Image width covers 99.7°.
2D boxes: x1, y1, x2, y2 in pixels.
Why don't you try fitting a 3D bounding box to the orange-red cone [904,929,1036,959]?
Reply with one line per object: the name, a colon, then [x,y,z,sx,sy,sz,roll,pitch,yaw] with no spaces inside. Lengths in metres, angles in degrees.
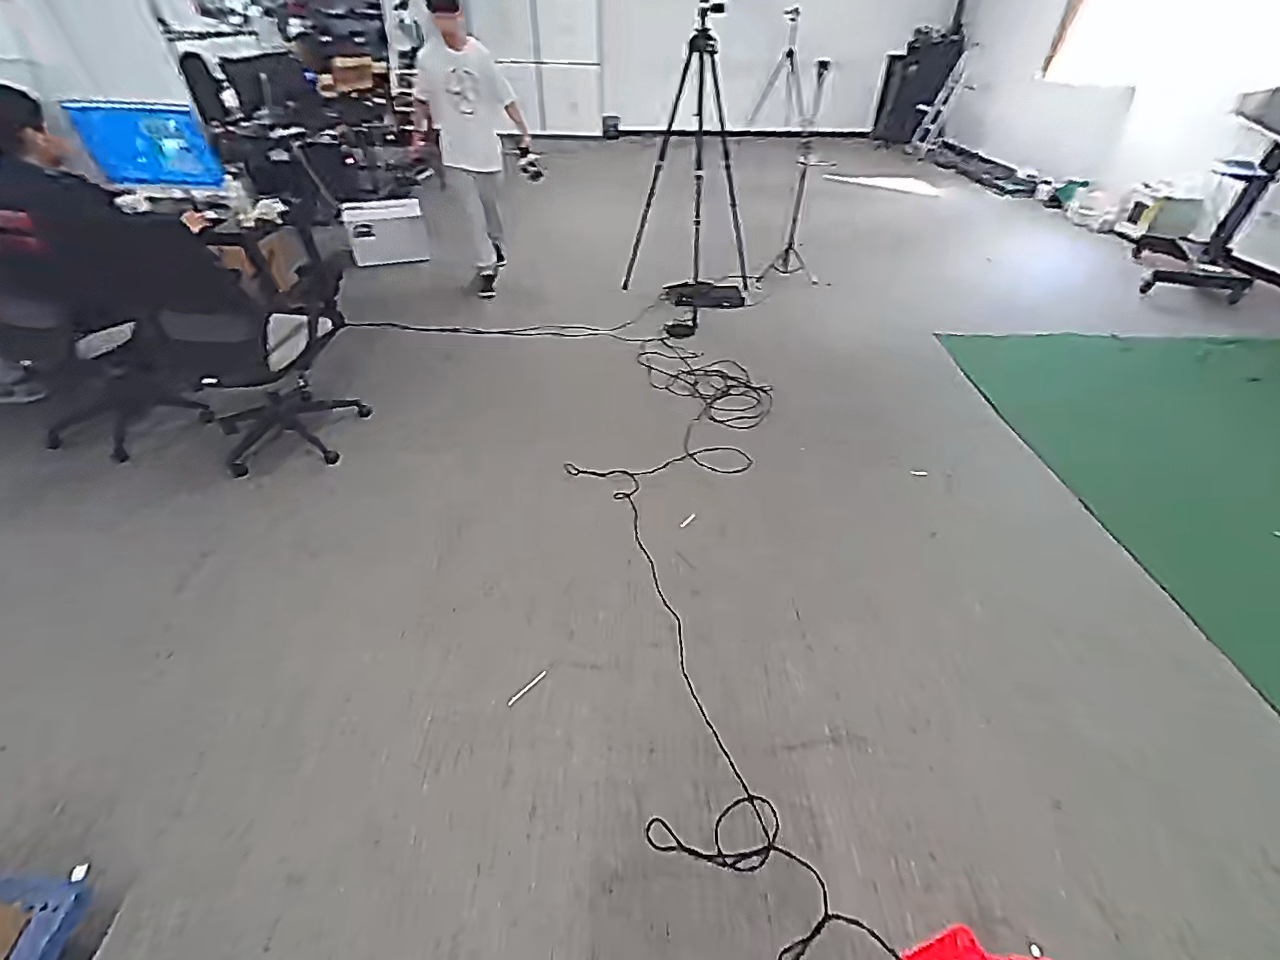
orange-red cone: [0.673,0.934,0.991,0.199,0.360,0.198,-12,43,-16]
